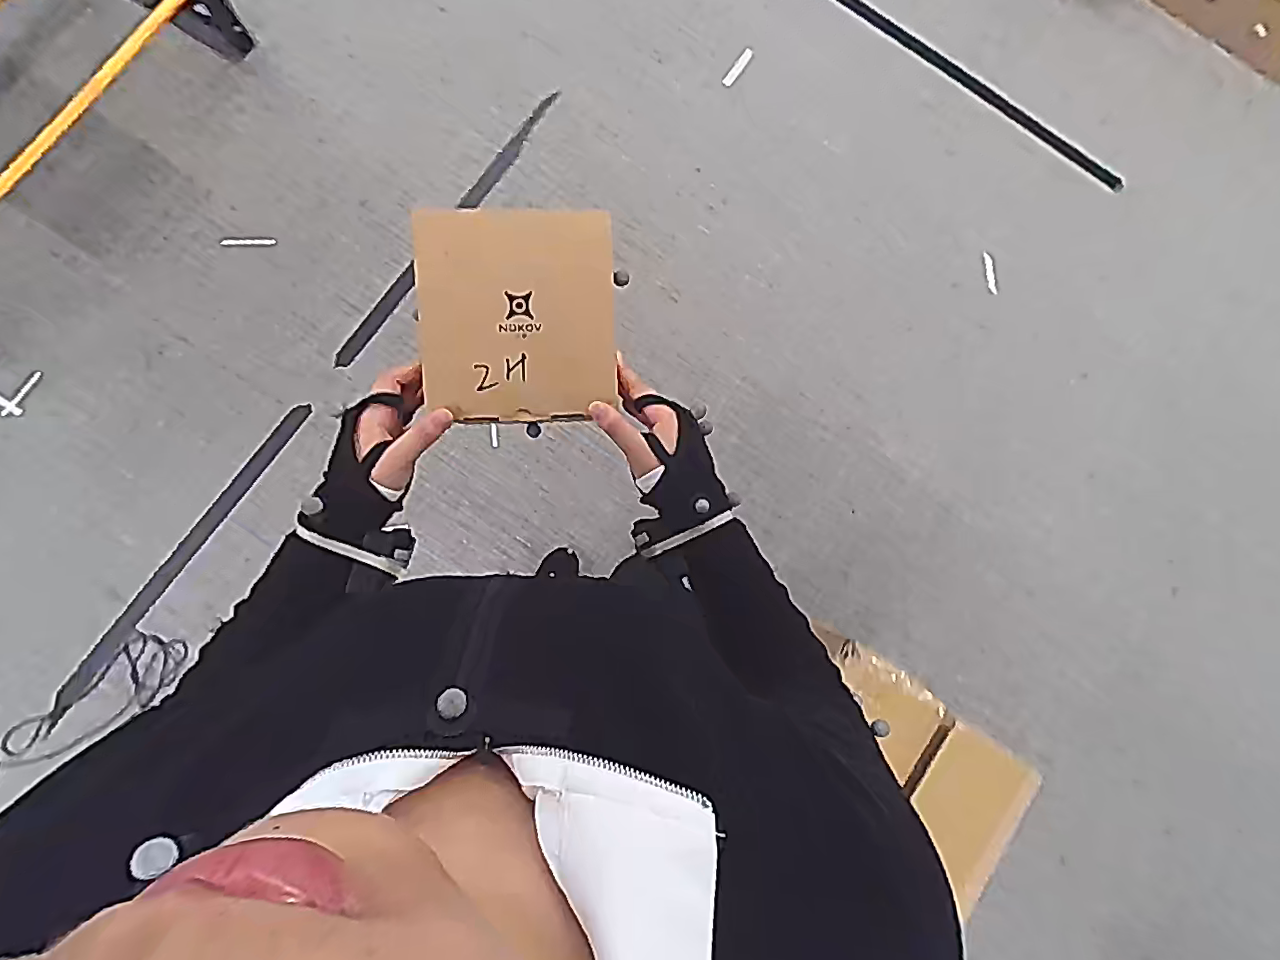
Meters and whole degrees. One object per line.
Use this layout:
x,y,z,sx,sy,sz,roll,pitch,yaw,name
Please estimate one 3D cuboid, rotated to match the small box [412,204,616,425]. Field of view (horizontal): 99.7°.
-0.115,-0.149,0.539,0.168,0.176,0.179,-4,94,-6,small box
